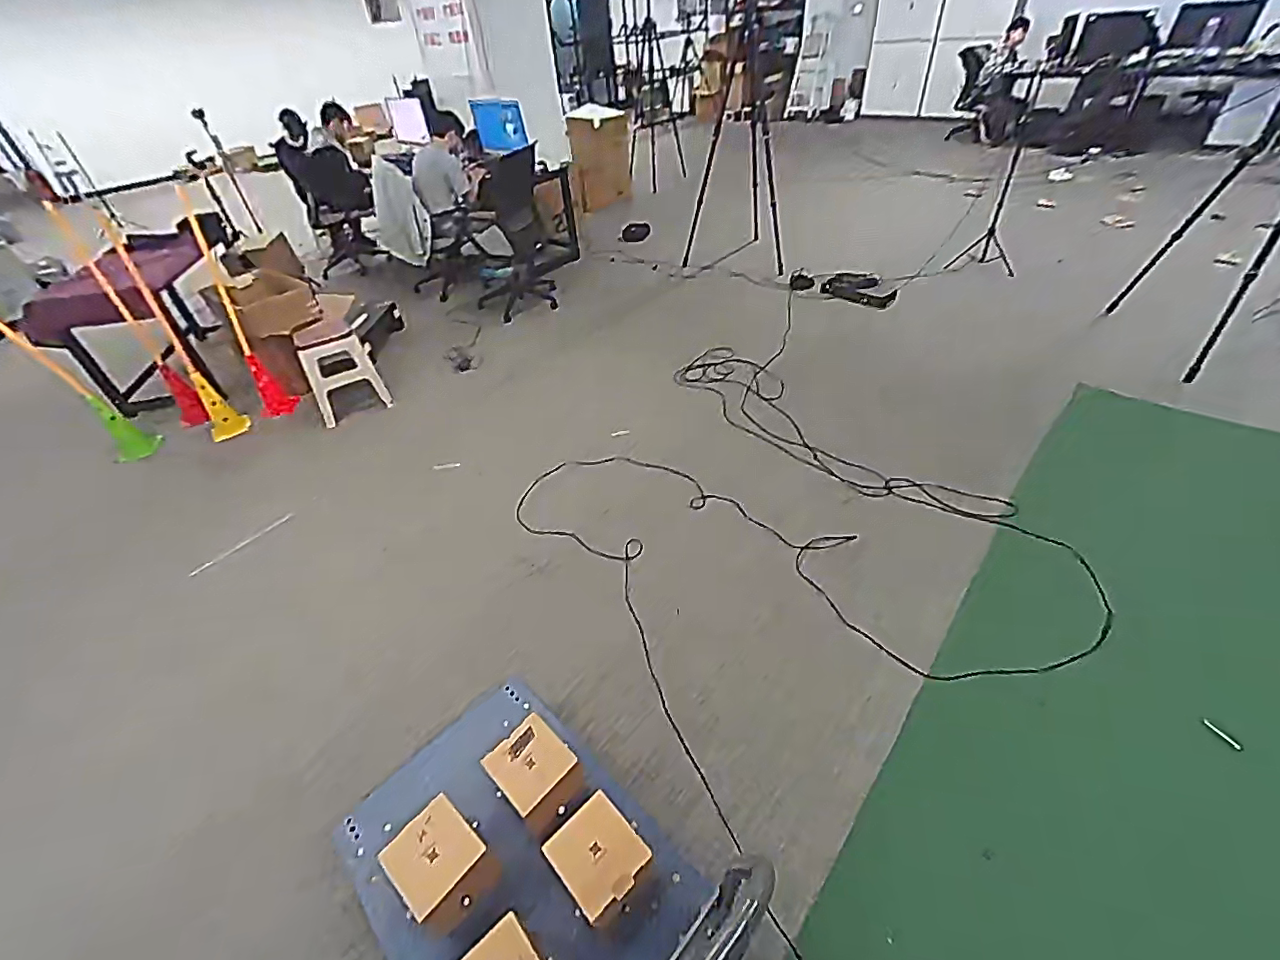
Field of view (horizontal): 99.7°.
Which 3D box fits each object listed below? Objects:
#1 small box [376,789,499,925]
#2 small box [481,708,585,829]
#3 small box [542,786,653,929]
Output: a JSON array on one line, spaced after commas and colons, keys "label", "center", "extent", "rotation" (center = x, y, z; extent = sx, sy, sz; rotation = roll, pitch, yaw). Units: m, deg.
[{"label": "small box", "center": [-0.437, 0.835, 1.193], "extent": [0.179, 0.176, 0.168], "rotation": [29, 51, 32]}, {"label": "small box", "center": [-0.256, 0.705, 1.318], "extent": [0.179, 0.176, 0.168], "rotation": [31, 54, 33]}, {"label": "small box", "center": [-0.088, 0.820, 1.174], "extent": [0.168, 0.176, 0.179], "rotation": [-34, 50, -28]}]
